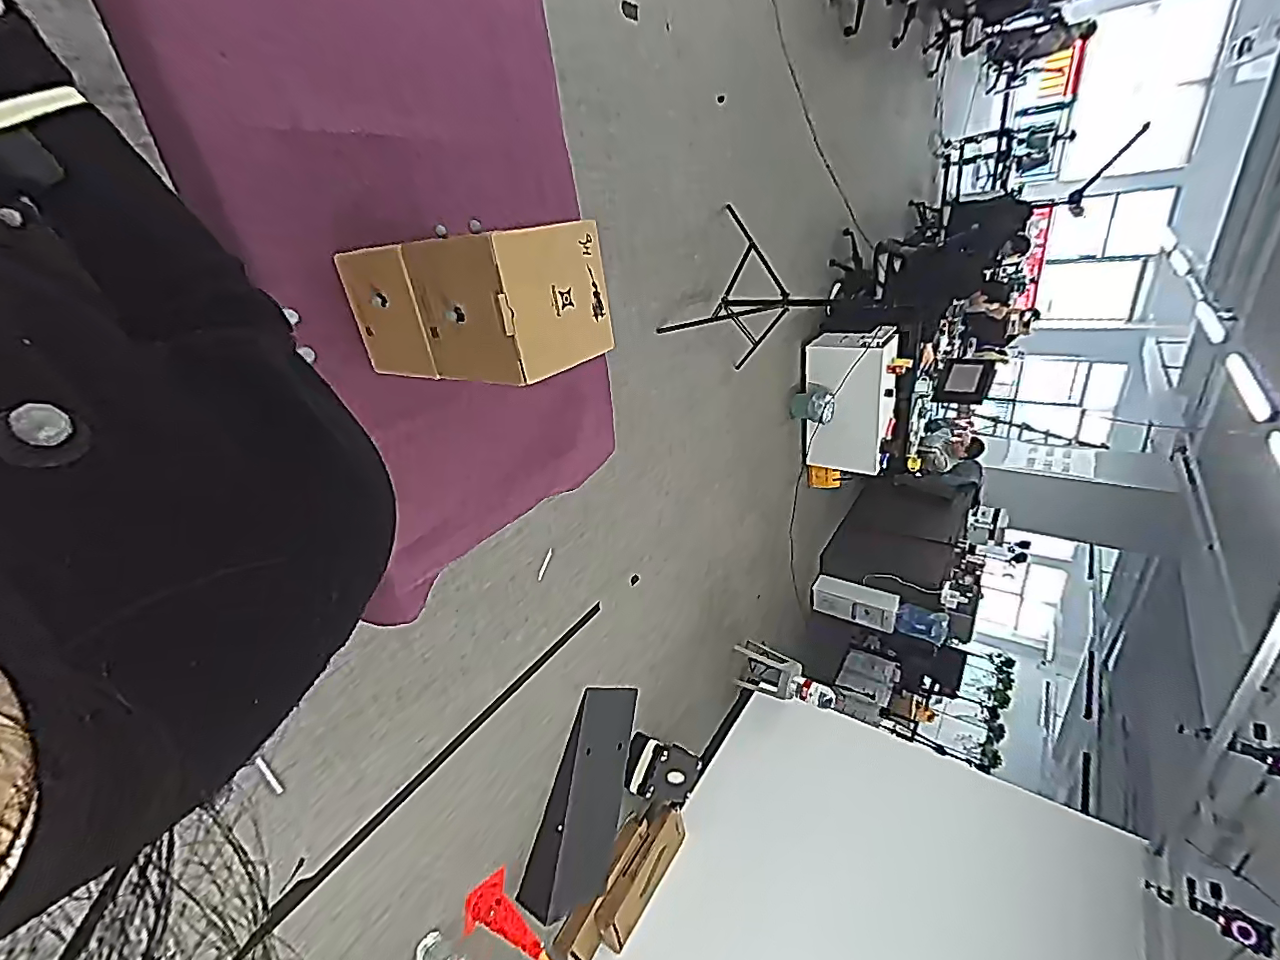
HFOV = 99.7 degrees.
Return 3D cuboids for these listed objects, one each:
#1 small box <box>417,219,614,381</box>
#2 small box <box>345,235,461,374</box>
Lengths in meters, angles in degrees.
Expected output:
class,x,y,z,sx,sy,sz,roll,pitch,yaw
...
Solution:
class,x,y,z,sx,sy,sz,roll,pitch,yaw
small box,-0.161,-0.233,0.700,0.179,0.176,0.168,-36,128,-44
small box,-0.296,-0.259,0.789,0.179,0.176,0.168,-38,129,-44
